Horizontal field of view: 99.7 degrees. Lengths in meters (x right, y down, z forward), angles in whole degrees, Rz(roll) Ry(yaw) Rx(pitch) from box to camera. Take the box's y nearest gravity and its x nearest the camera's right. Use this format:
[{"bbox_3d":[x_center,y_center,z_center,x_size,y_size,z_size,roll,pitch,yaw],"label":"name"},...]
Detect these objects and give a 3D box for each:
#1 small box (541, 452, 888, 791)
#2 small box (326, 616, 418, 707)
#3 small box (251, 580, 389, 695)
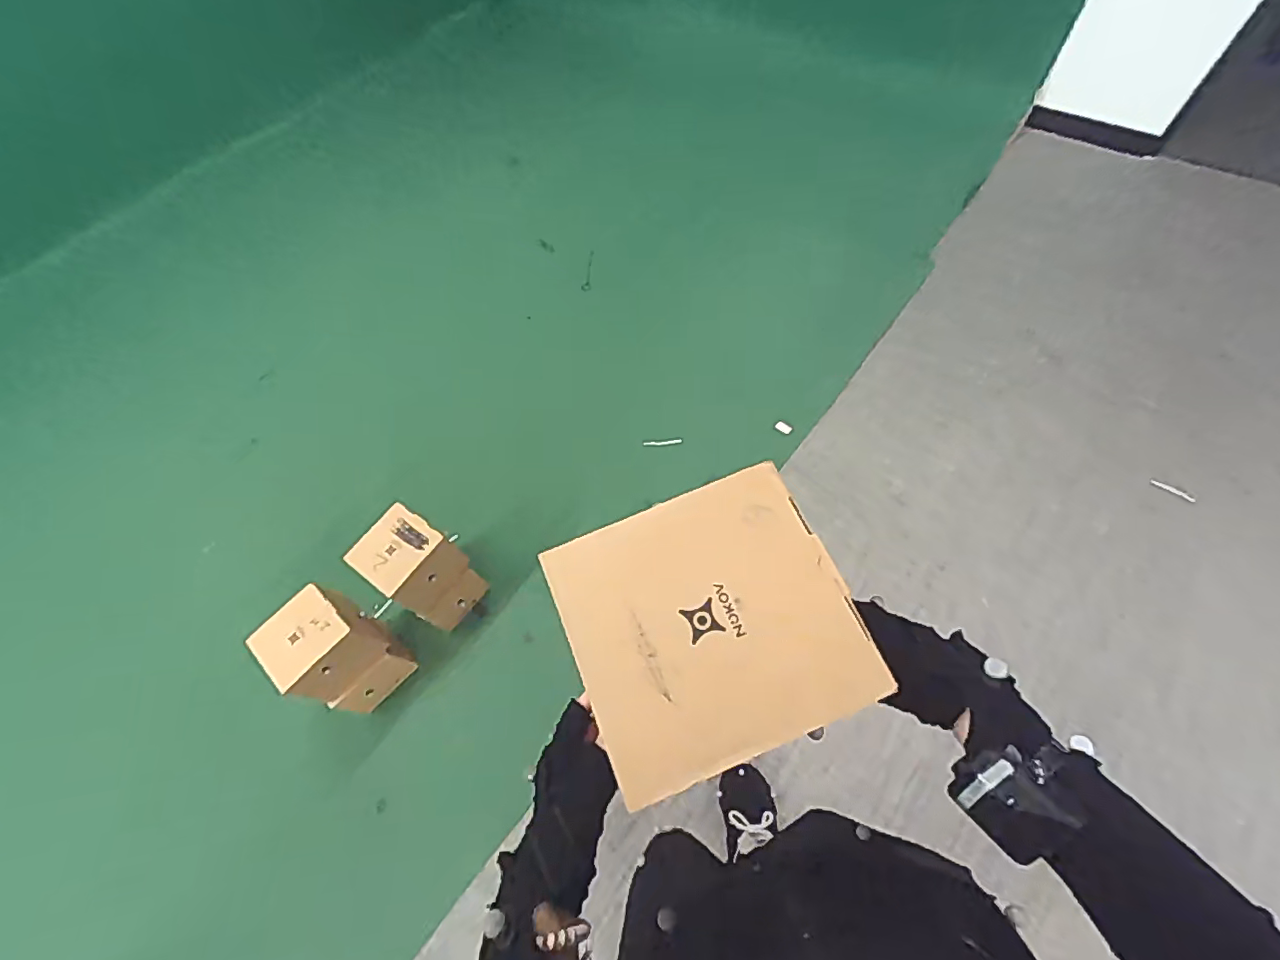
[{"bbox_3d":[0.045,0.108,0.417,0.179,0.176,0.168,-22,68,-5],"label":"small box"},{"bbox_3d":[-0.702,0.453,1.370,0.179,0.176,0.168,39,72,23],"label":"small box"},{"bbox_3d":[-0.719,0.364,1.232,0.168,0.176,0.179,38,72,22],"label":"small box"}]
